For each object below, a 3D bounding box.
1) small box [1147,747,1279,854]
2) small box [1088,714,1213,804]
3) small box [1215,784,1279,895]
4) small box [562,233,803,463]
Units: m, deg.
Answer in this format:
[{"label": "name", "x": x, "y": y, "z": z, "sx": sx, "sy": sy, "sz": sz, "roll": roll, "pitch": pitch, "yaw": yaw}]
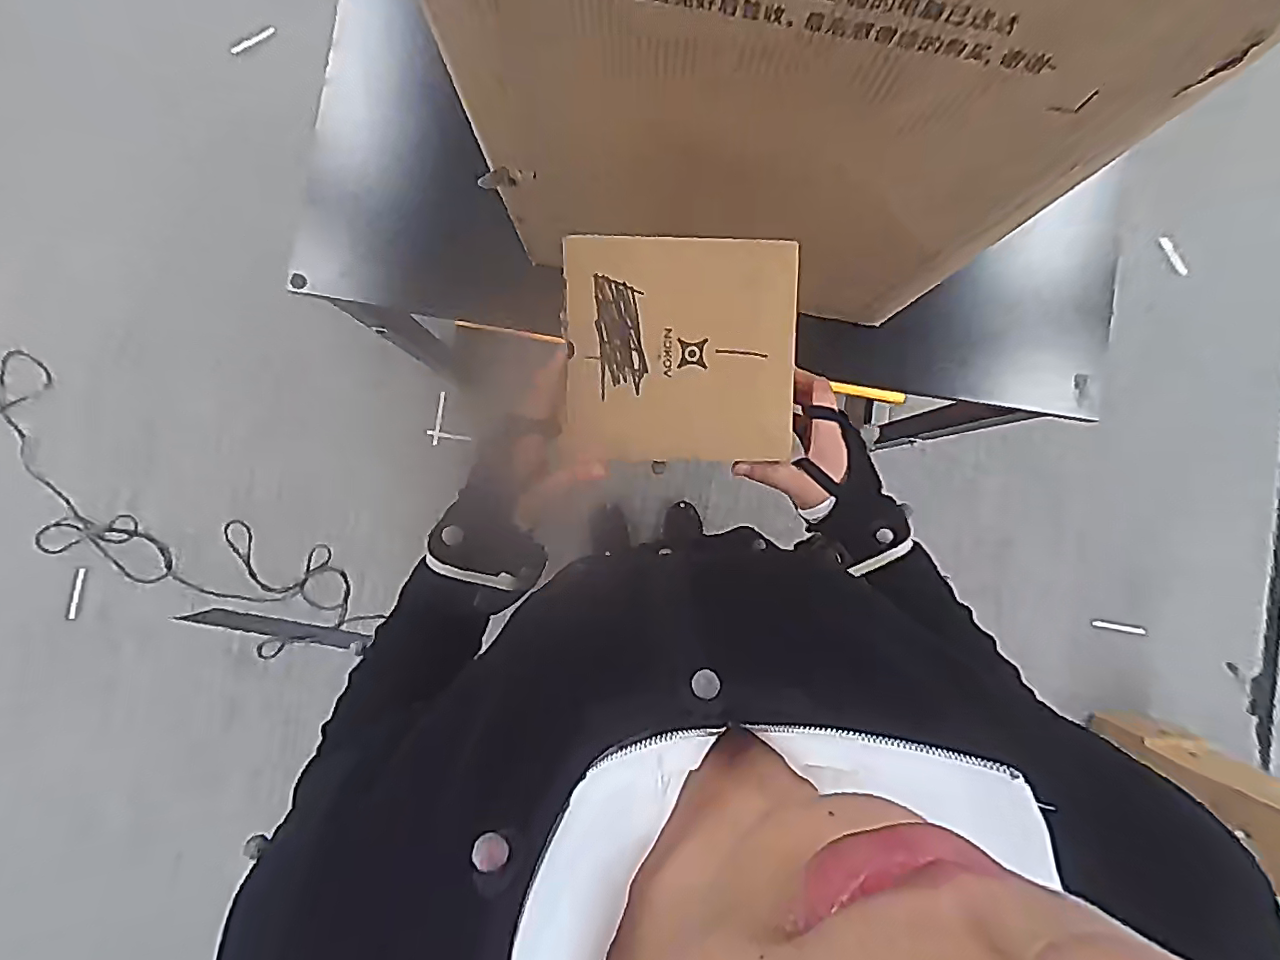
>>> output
[{"label": "small box", "x": 1.344, "y": 0.746, "z": 1.267, "sx": 0.179, "sy": 0.176, "sz": 0.168, "roll": 2, "pitch": 87, "yaw": -1}, {"label": "small box", "x": 1.345, "y": 0.735, "z": 1.431, "sx": 0.179, "sy": 0.176, "sz": 0.168, "roll": 3, "pitch": 87, "yaw": 0}, {"label": "small box", "x": 1.350, "y": 0.748, "z": 1.101, "sx": 0.179, "sy": 0.176, "sz": 0.168, "roll": 7, "pitch": 87, "yaw": -1}, {"label": "small box", "x": 0.027, "y": -0.102, "z": 0.476, "sx": 0.179, "sy": 0.176, "sz": 0.168, "roll": 0, "pitch": 96, "yaw": -4}]
